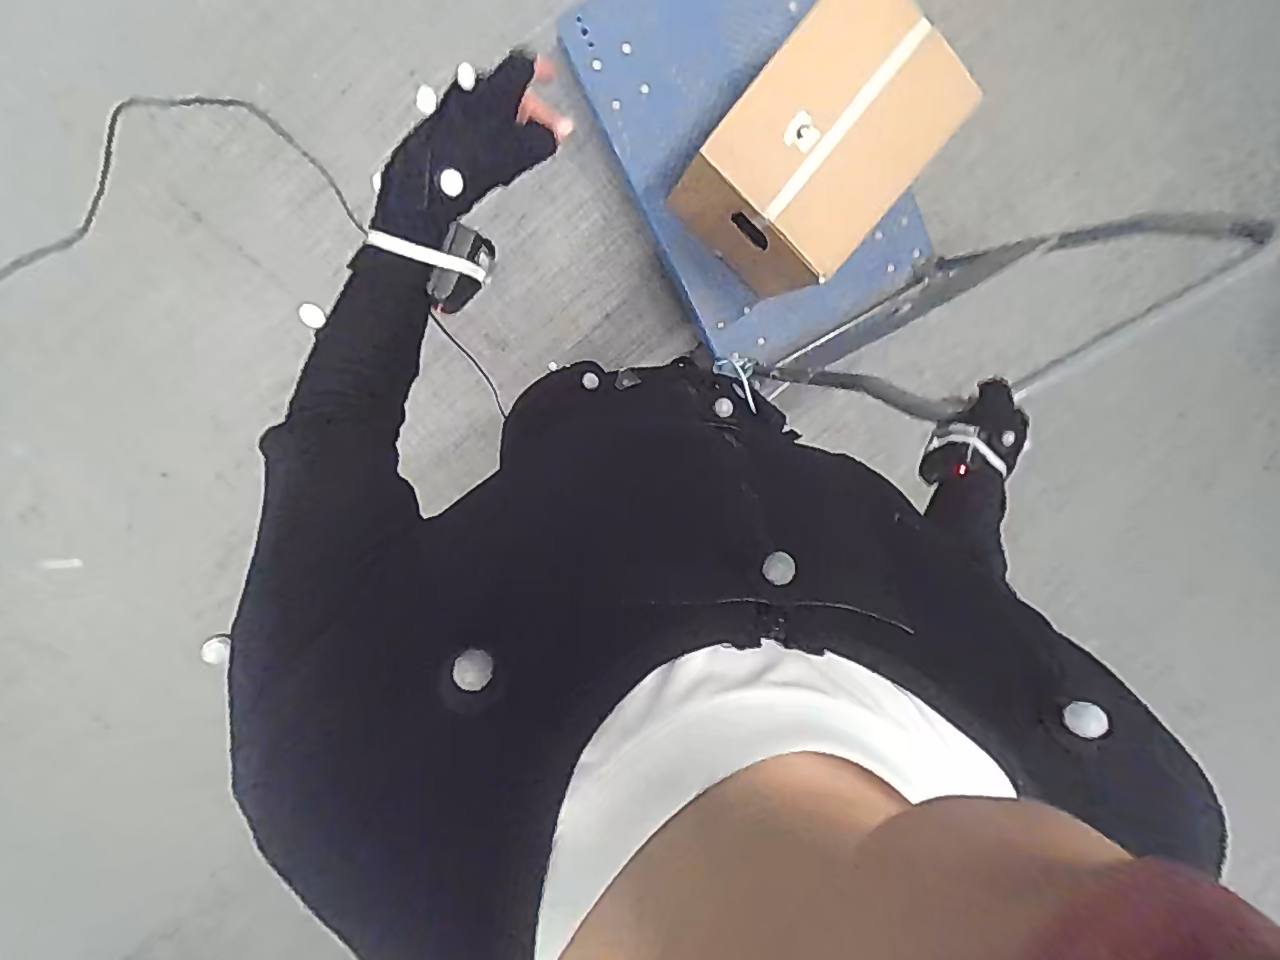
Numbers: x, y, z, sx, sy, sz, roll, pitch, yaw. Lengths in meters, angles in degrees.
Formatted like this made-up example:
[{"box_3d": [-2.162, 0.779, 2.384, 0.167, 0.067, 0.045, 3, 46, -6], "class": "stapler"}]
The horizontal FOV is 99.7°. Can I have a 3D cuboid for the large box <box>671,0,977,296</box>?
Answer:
[{"box_3d": [0.322, -0.625, 1.049, 0.320, 0.320, 0.408, 39, 96, -14], "class": "large box"}]
